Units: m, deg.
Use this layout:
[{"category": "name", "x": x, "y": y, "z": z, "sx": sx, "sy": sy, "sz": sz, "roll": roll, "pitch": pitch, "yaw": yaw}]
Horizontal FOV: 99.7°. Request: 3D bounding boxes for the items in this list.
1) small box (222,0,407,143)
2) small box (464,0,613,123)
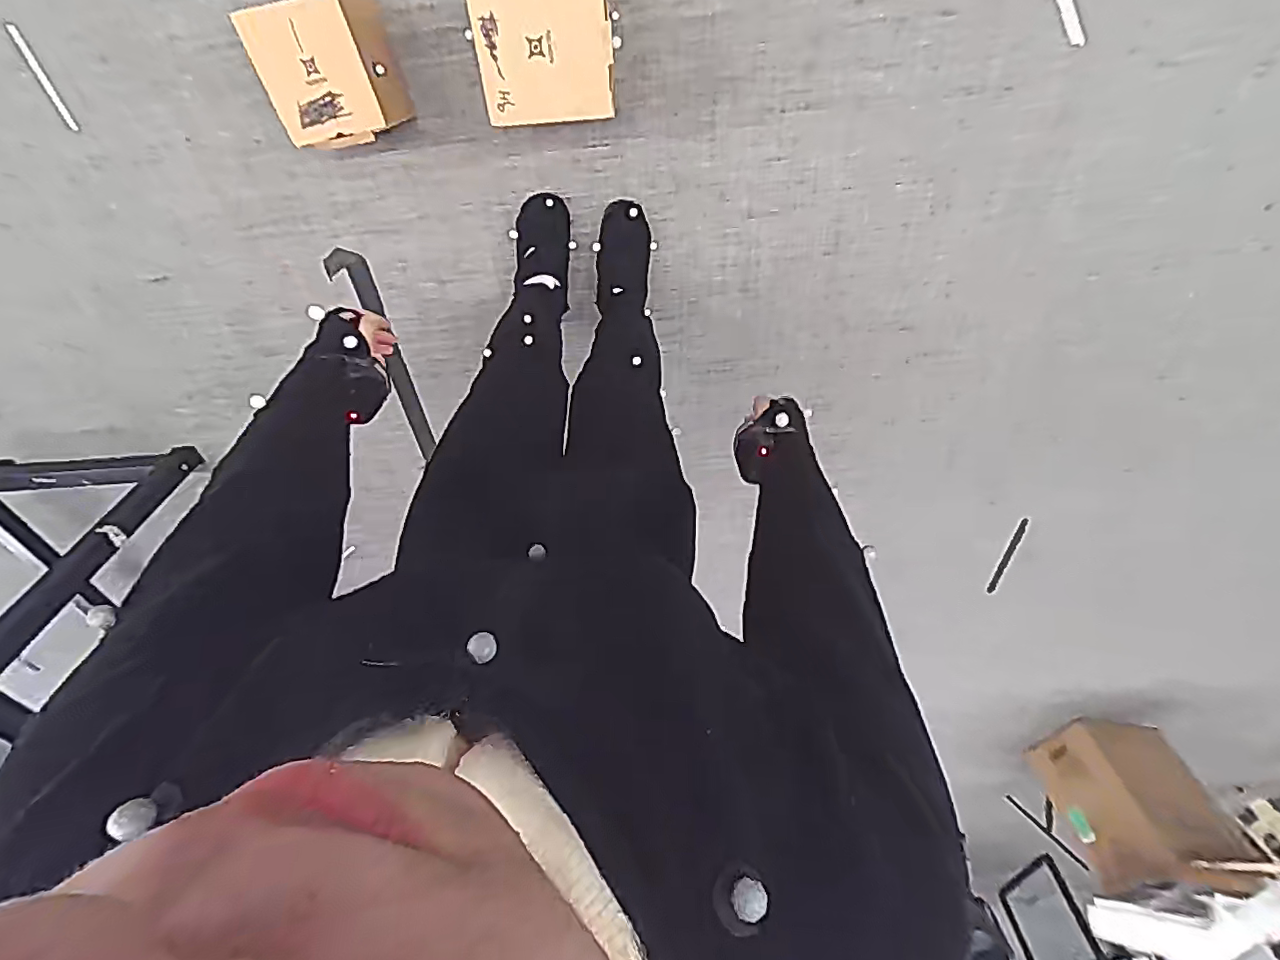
[{"category": "small box", "x": -0.512, "y": -0.681, "z": 0.886, "sx": 0.168, "sy": 0.176, "sz": 0.179, "roll": -9, "pitch": 130, "yaw": 4}, {"category": "small box", "x": -0.132, "y": -0.610, "z": 0.754, "sx": 0.179, "sy": 0.176, "sz": 0.168, "roll": -4, "pitch": 129, "yaw": -1}]
